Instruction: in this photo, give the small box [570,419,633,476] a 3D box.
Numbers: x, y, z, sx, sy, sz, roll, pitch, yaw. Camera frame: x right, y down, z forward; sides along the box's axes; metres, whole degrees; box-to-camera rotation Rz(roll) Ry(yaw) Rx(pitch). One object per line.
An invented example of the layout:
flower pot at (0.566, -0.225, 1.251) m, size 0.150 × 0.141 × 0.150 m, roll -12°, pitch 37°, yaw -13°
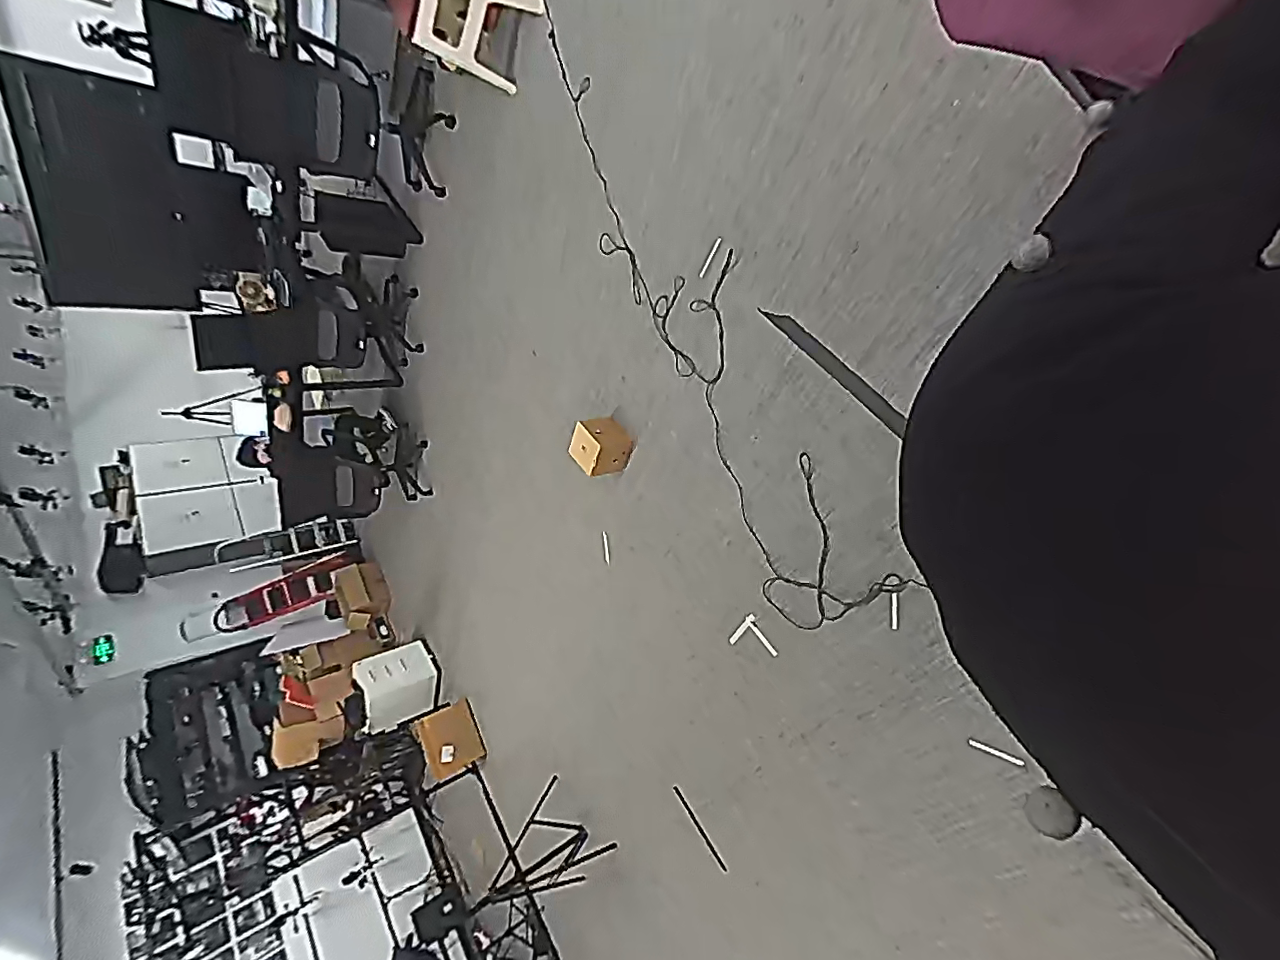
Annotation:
small box at (-0.159, -0.140, 2.249) m, size 0.179 × 0.176 × 0.168 m, roll 48°, pitch 132°, yaw 31°
